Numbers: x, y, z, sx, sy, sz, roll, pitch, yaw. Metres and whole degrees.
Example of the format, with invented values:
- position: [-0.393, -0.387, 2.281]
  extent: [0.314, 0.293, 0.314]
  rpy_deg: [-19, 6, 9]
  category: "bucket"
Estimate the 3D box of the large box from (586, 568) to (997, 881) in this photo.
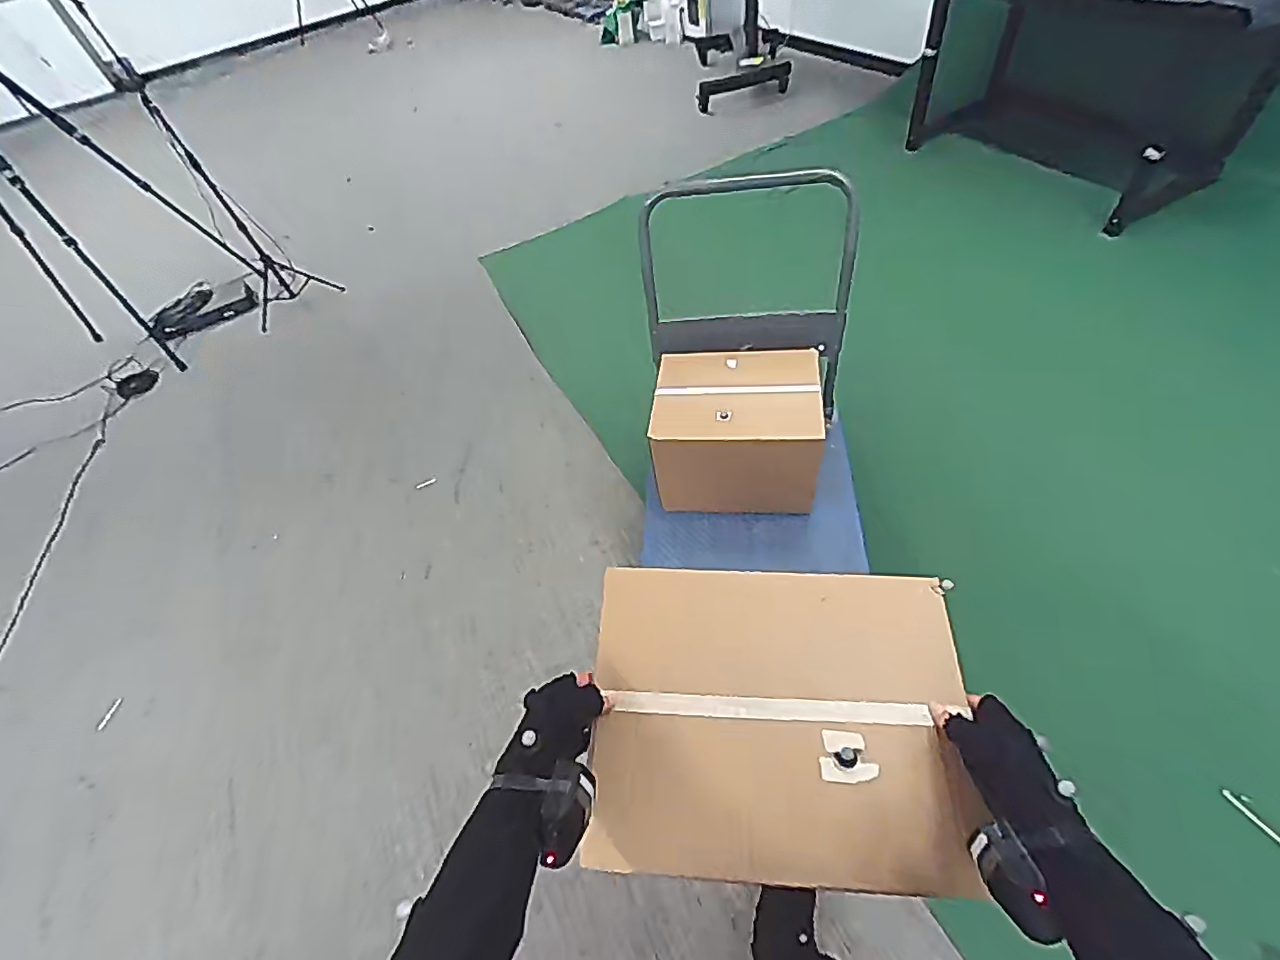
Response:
- position: [0.154, 0.323, 0.725]
  extent: [0.408, 0.320, 0.320]
  rpy_deg: [1, 59, 4]
  category: "large box"
